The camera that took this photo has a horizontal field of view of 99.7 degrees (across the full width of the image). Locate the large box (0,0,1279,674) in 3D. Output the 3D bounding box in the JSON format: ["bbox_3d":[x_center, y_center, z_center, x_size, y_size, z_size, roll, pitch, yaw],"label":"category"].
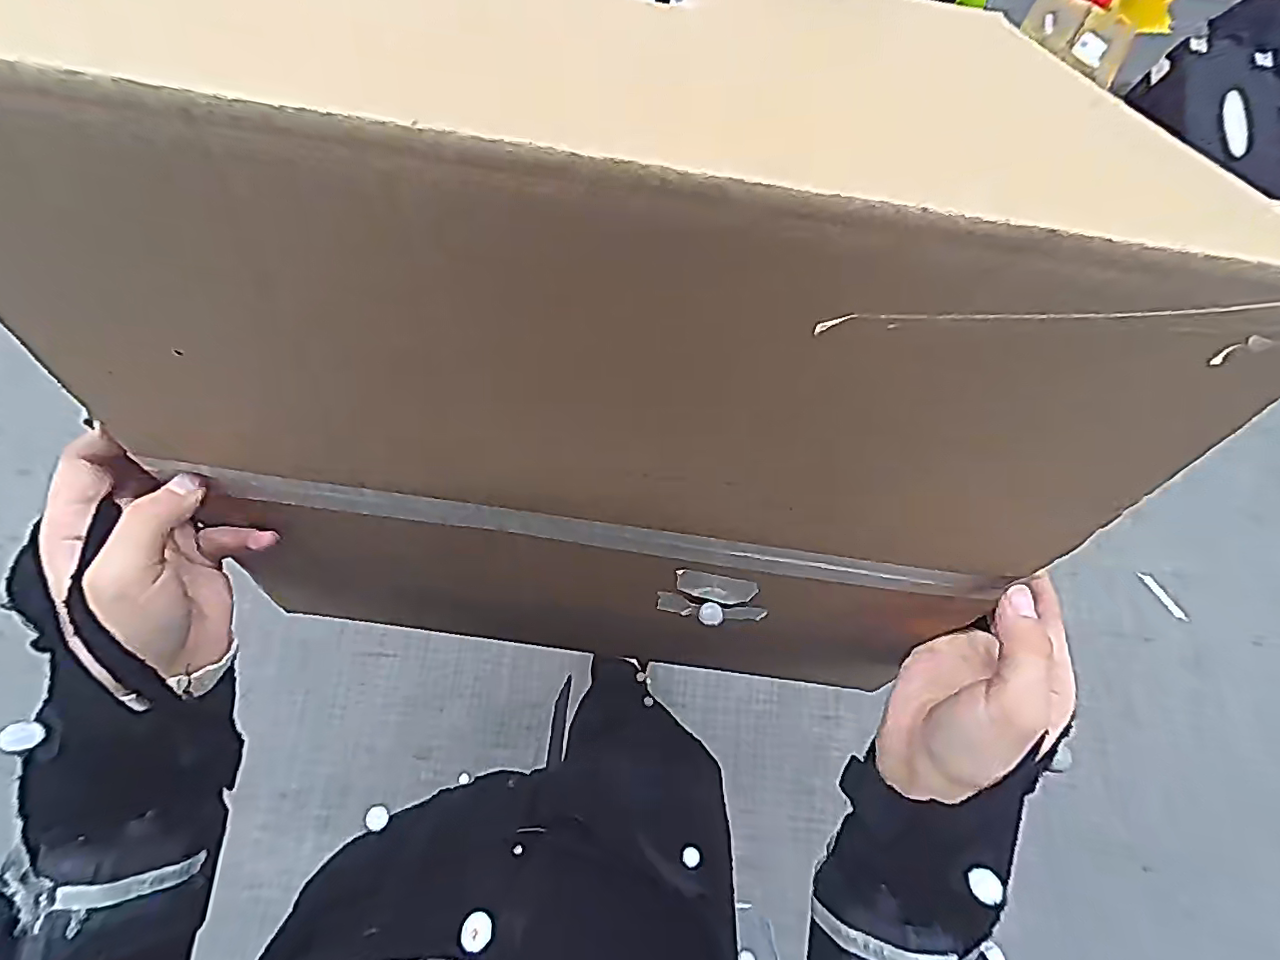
[{"bbox_3d":[-0.009,-0.098,0.354,0.408,0.320,0.320,8,52,-2],"label":"large box"}]
